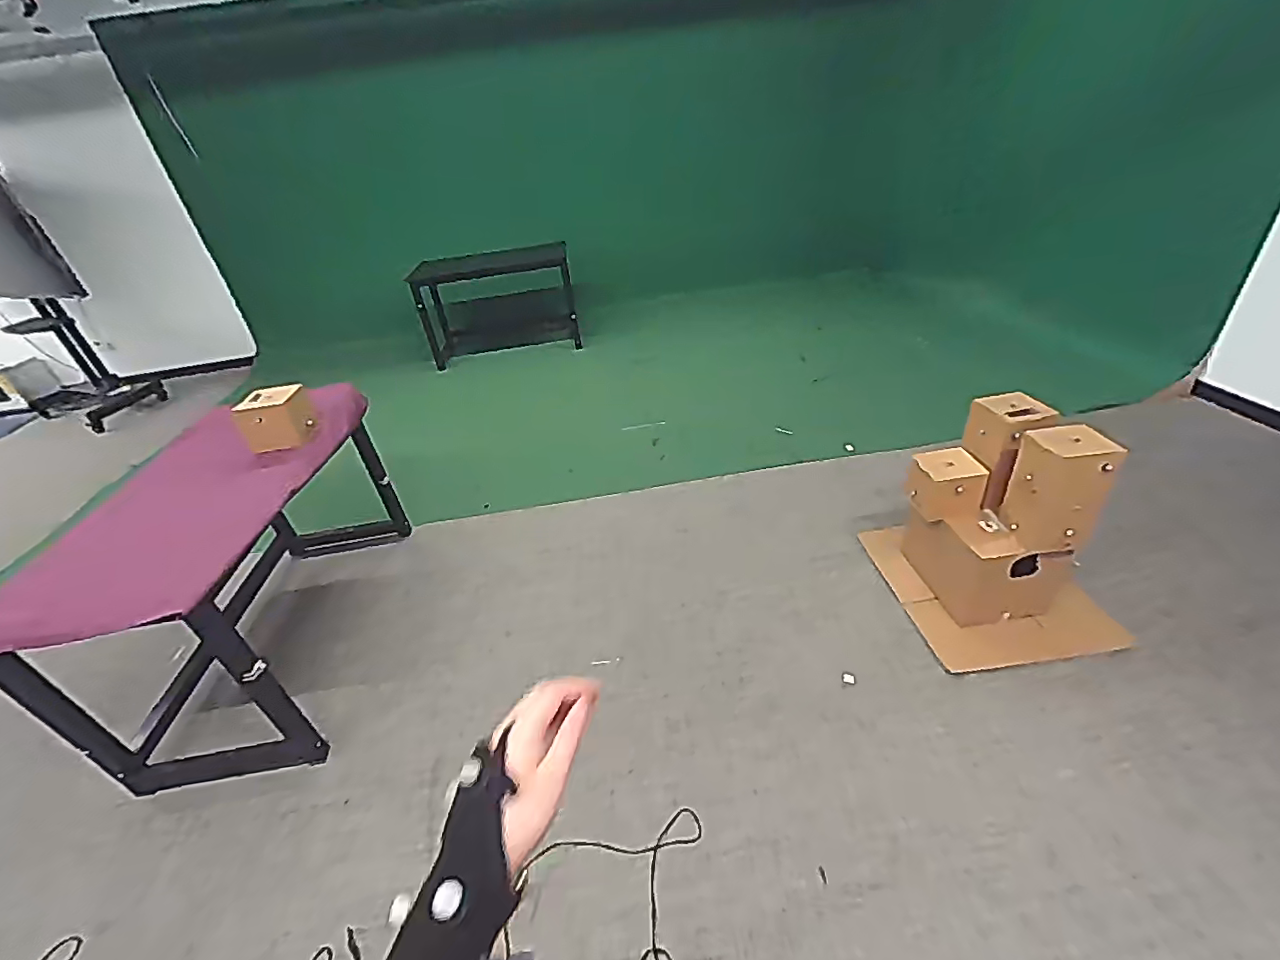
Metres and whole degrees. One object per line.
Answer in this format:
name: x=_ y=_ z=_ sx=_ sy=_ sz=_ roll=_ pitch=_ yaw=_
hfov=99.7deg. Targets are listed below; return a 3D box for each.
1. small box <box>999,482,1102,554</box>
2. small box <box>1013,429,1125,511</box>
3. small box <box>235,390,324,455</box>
small box: x=1.241 y=0.112 z=1.649 sx=0.168 sy=0.176 sz=0.179 roll=-7 pitch=31 yaw=1
small box: x=1.224 y=-0.028 z=1.558 sx=0.179 sy=0.176 sz=0.168 roll=-7 pitch=31 yaw=2
small box: x=-1.264 y=-0.200 z=1.909 sx=0.179 sy=0.176 sz=0.168 roll=-9 pitch=34 yaw=-2
